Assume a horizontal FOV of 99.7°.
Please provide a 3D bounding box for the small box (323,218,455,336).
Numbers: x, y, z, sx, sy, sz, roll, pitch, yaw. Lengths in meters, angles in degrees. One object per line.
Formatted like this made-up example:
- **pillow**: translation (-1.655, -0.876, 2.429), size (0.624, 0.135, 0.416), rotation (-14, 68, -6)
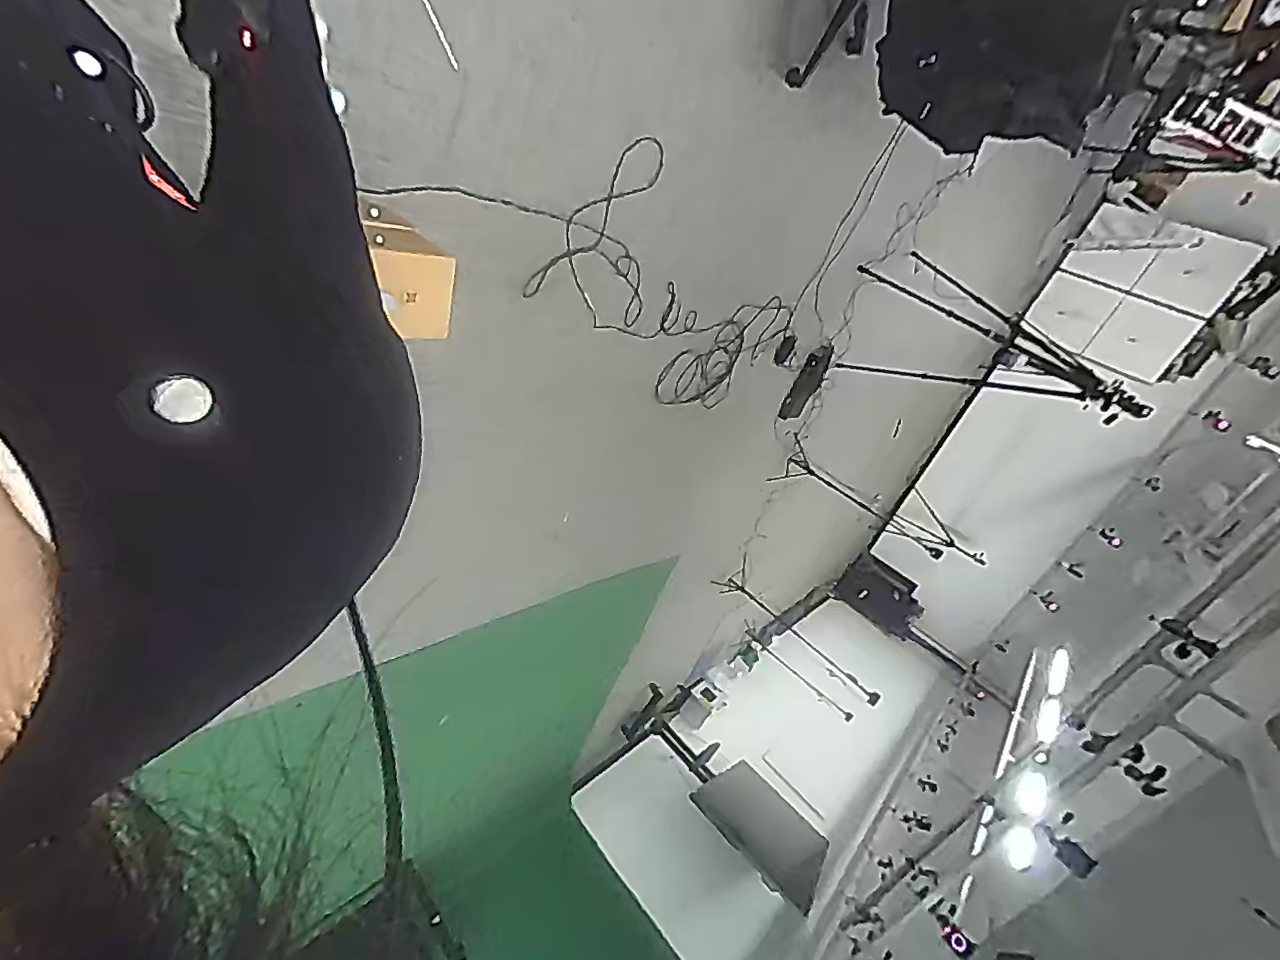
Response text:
- **small box**: translation (-0.487, -0.390, 1.046), size (0.179, 0.176, 0.168), rotation (-15, 134, -44)

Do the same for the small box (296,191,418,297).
- **small box**: translation (-0.591, -0.484, 1.128), size (0.179, 0.176, 0.168), rotation (-14, 133, -45)
